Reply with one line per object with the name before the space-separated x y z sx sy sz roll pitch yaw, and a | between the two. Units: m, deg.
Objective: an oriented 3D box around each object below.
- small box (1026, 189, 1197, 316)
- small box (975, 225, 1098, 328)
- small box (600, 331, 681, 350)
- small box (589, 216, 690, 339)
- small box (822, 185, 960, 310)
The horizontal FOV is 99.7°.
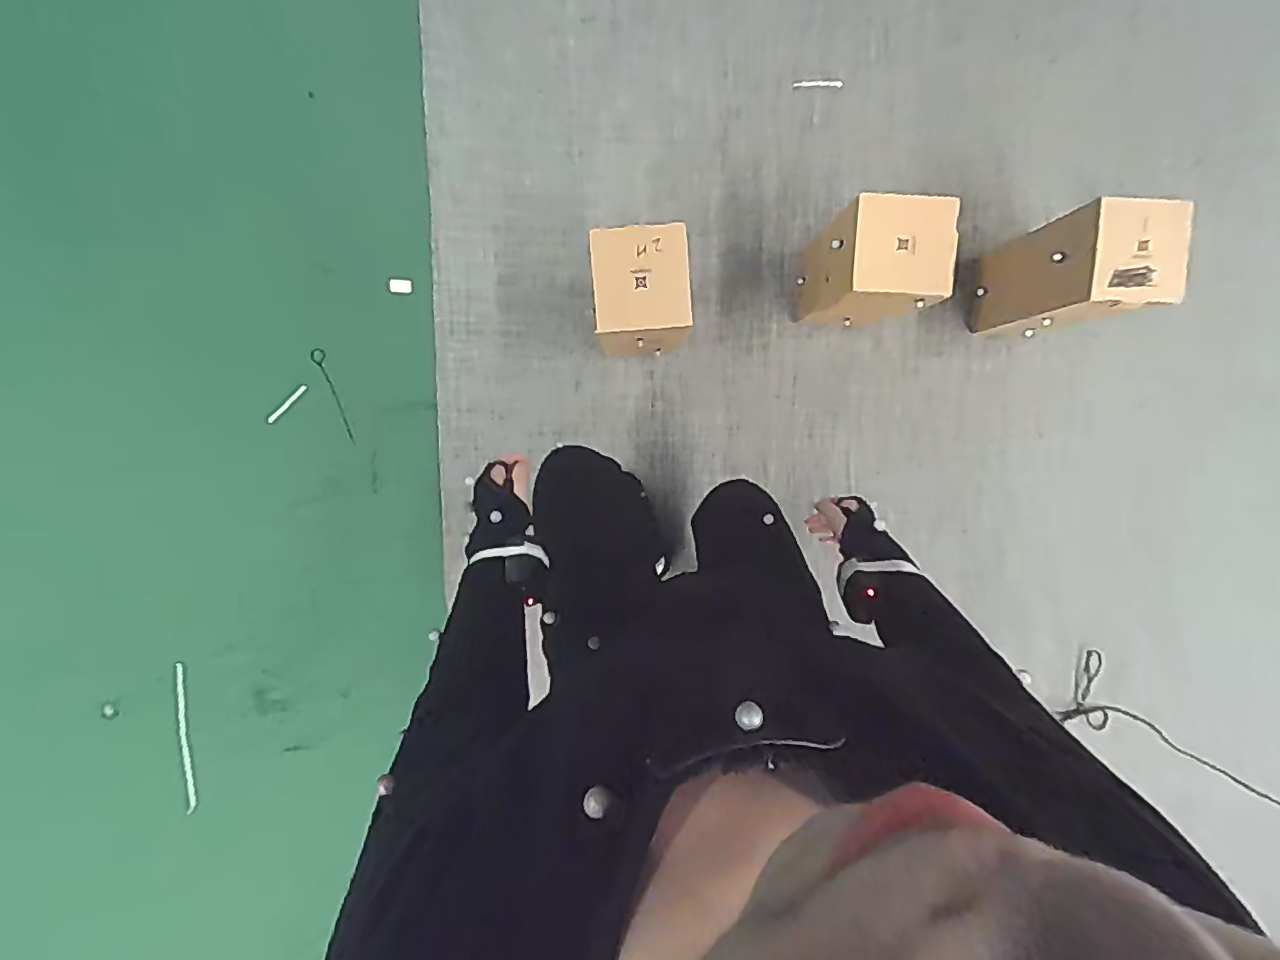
small box | 0.854 -0.408 0.997 0.168 0.176 0.179 2 94 -1
small box | 0.853 -0.427 1.161 0.168 0.176 0.179 1 96 -1
small box | -0.002 -0.376 1.155 0.168 0.176 0.179 -3 95 -1
small box | -0.001 -0.359 0.991 0.168 0.176 0.179 -4 95 -2
small box | 0.449 -0.416 0.993 0.179 0.176 0.168 2 95 -1
